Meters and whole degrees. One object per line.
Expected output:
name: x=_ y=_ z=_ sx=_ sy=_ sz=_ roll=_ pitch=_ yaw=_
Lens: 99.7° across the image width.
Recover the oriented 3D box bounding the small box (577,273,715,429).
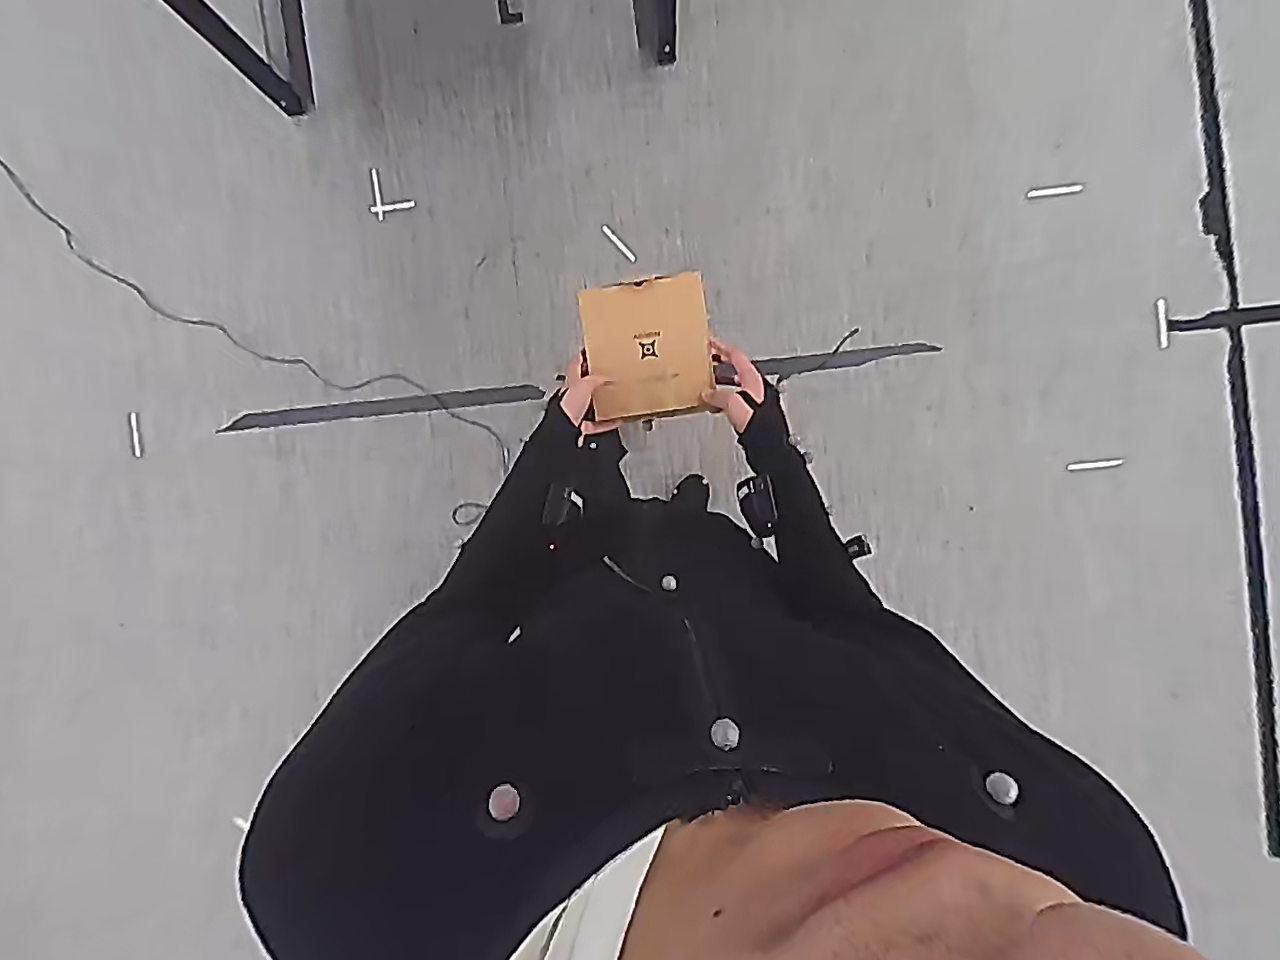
small box: x=0.010 y=-0.174 z=0.780 sx=0.168 sy=0.176 sz=0.179 roll=-8 pitch=92 yaw=3
